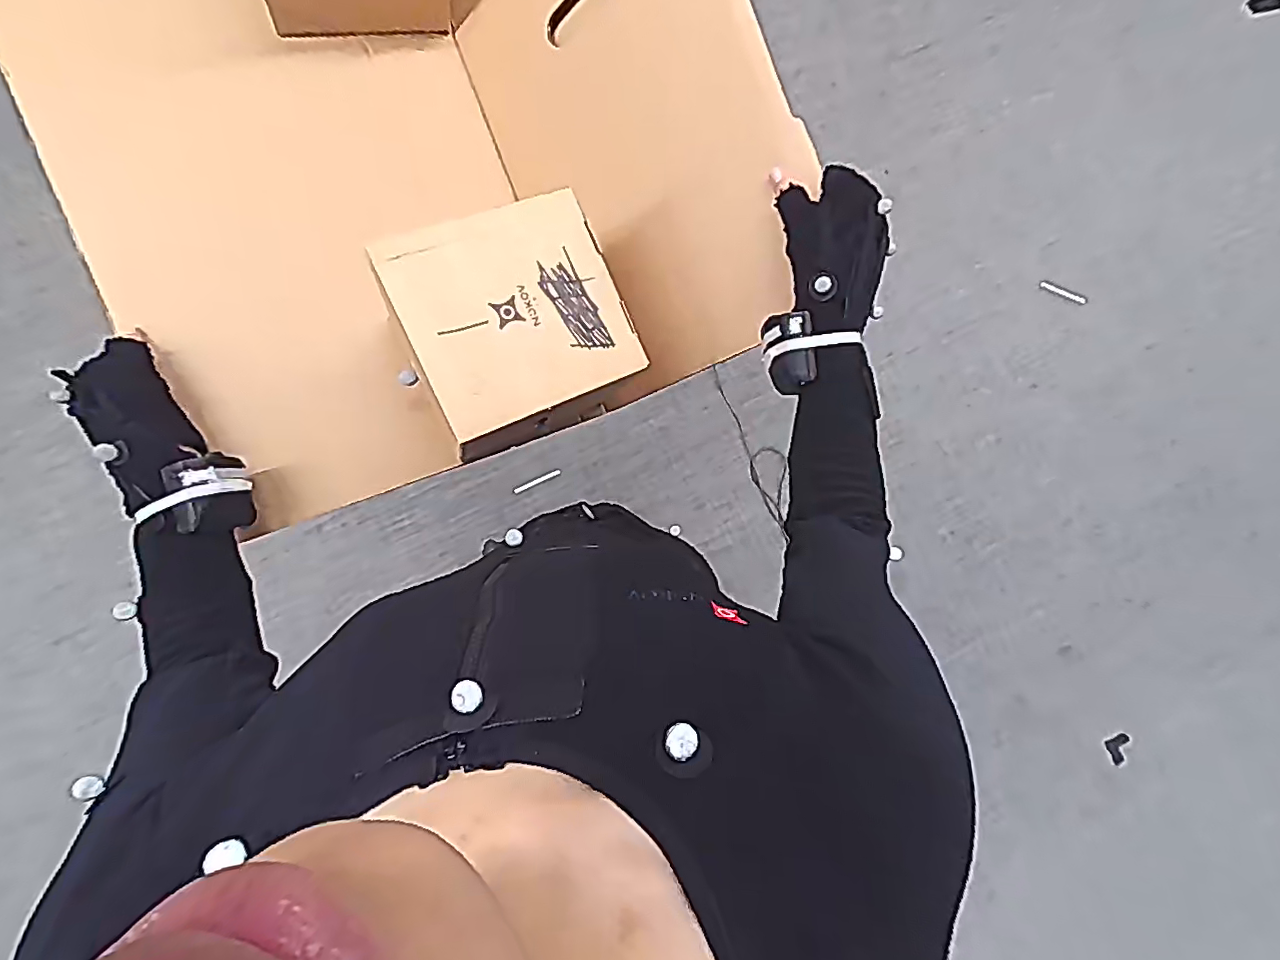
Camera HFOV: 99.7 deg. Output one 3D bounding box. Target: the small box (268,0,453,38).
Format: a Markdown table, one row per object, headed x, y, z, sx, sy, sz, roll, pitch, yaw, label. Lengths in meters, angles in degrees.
| x | y | z | sx | sy | sz | roll | pitch | yaw | label |
| --- | --- | --- | --- | --- | --- | --- | --- | --- | --- |
| -0.279 | -0.548 | 0.492 | 0.179 | 0.176 | 0.168 | -17 | 92 | -19 | small box |
